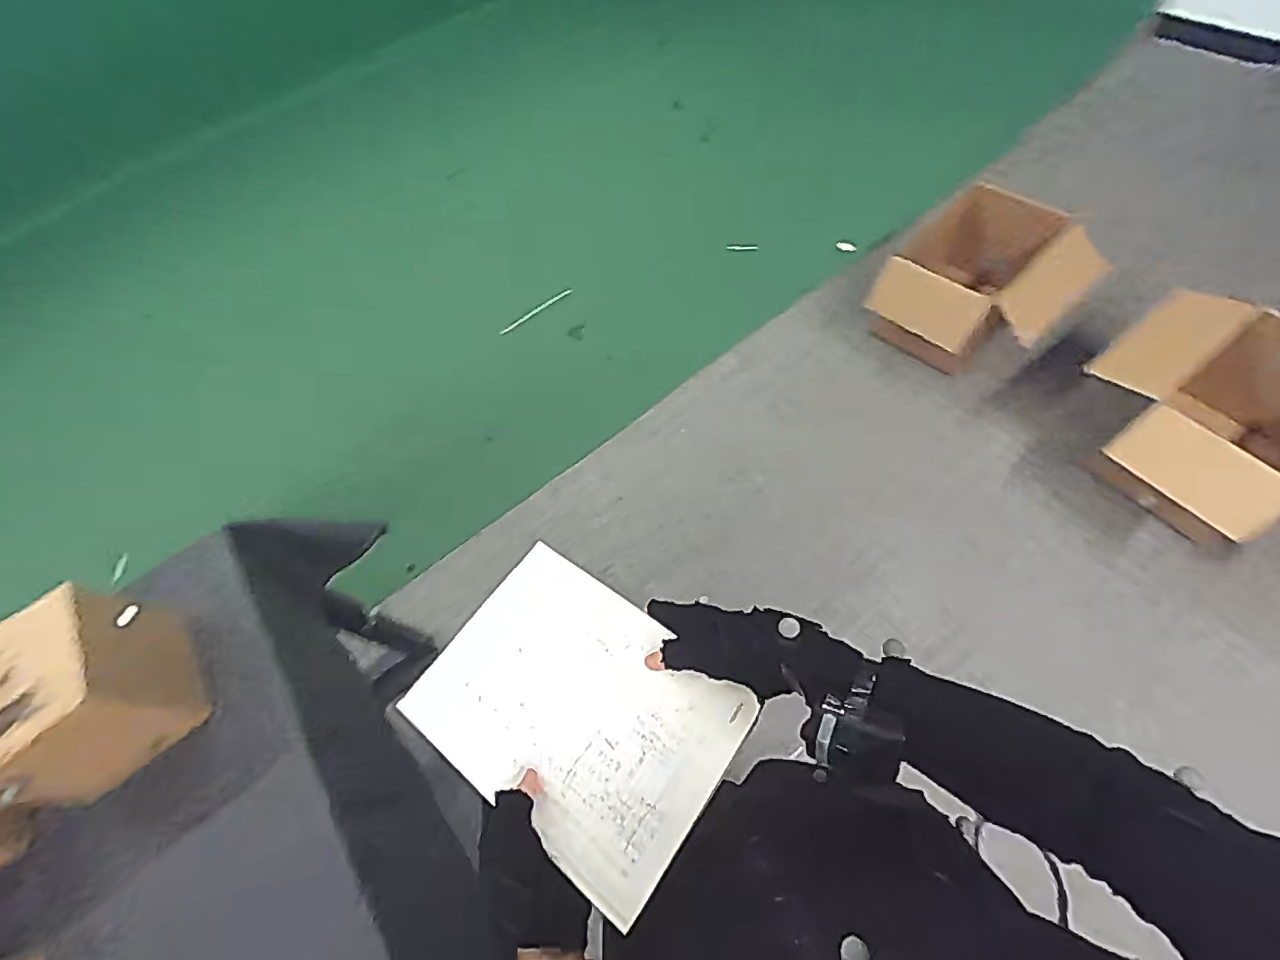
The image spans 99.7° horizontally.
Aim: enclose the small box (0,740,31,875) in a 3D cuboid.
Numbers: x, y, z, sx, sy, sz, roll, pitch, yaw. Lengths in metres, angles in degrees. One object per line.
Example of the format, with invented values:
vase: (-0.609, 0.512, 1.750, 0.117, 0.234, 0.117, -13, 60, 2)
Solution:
small box: (-0.888, 0.424, 0.628, 0.179, 0.176, 0.168, -35, 62, -11)
